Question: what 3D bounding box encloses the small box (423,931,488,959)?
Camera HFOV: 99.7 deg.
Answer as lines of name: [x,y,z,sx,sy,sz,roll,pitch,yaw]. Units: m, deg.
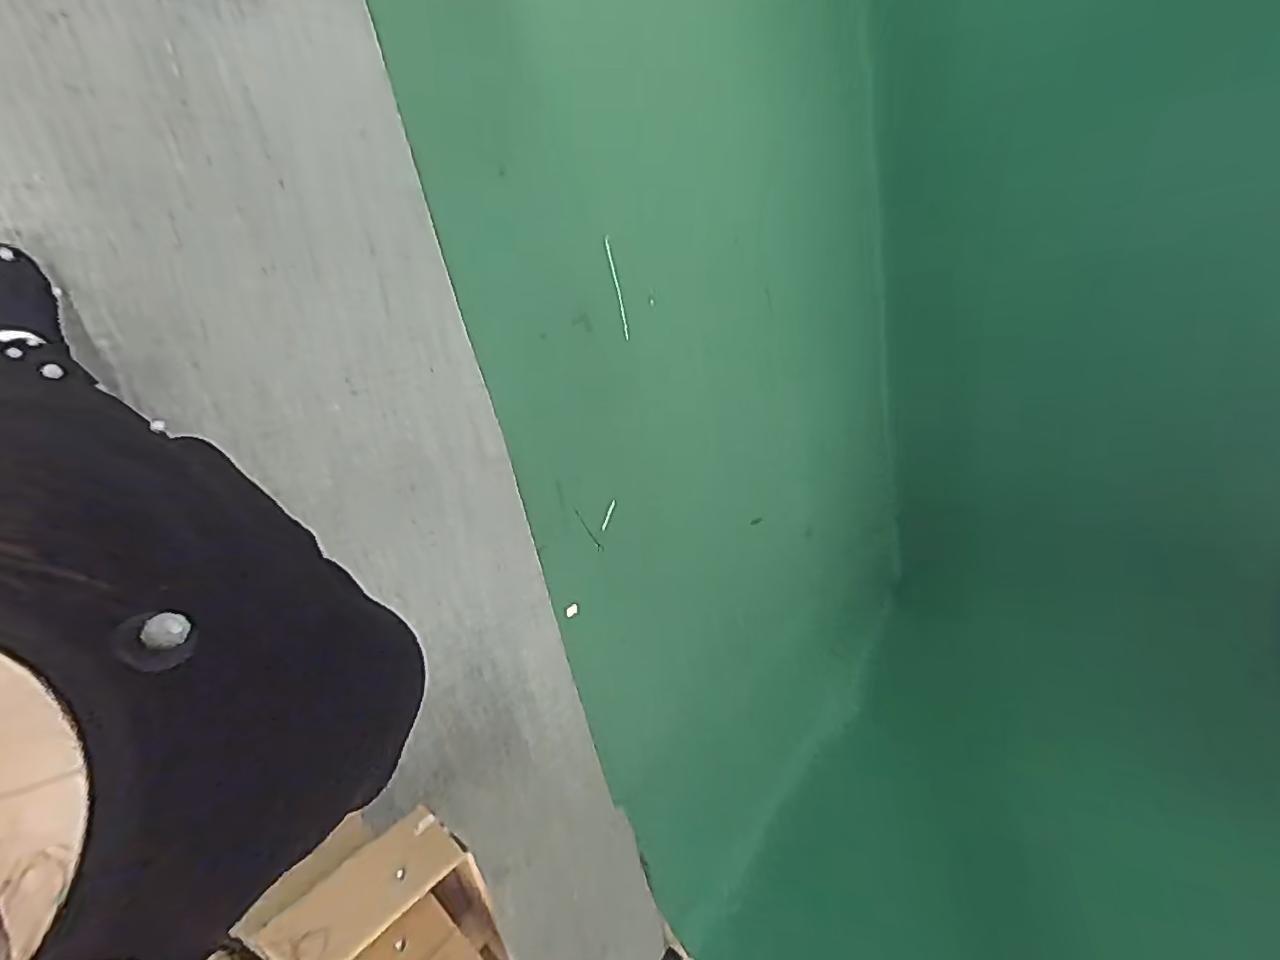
small box: [-0.320,0.932,0.923,0.168,0.176,0.179,-27,114,-41]
